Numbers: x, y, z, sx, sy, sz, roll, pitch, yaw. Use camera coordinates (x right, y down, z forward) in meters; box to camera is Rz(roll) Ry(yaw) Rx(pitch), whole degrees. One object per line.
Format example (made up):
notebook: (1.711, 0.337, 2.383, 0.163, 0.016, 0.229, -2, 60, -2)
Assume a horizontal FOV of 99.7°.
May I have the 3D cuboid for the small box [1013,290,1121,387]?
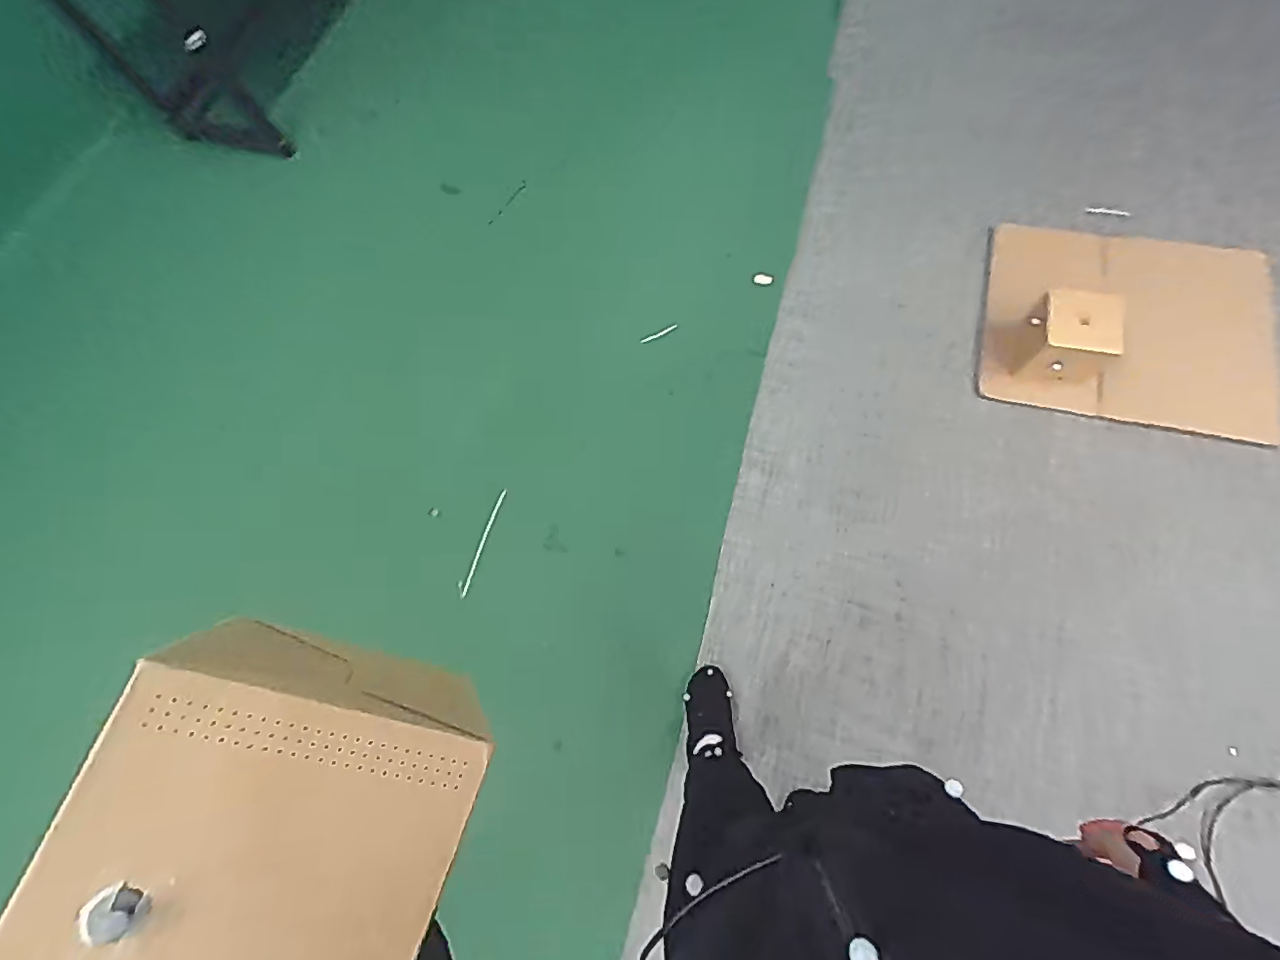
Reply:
small box: (1.108, -0.365, 1.414, 0.168, 0.176, 0.179, 11, 71, 11)
